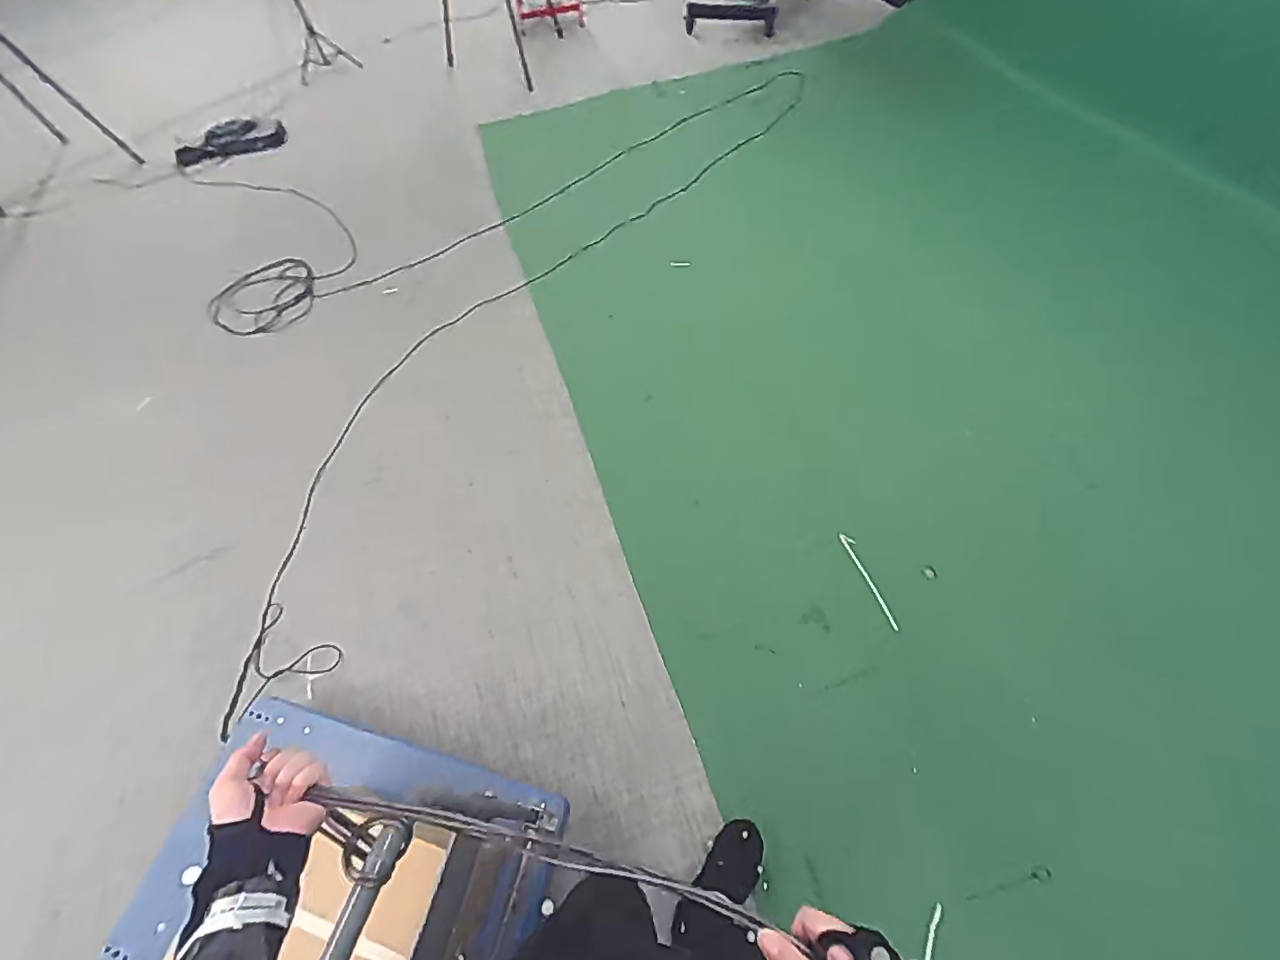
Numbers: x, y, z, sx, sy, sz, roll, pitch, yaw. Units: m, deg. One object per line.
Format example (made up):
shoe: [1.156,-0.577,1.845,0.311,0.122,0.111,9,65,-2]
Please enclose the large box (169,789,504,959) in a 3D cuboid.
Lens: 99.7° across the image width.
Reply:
large box: [-0.528,0.808,1.004,0.408,0.320,0.320,11,58,14]
